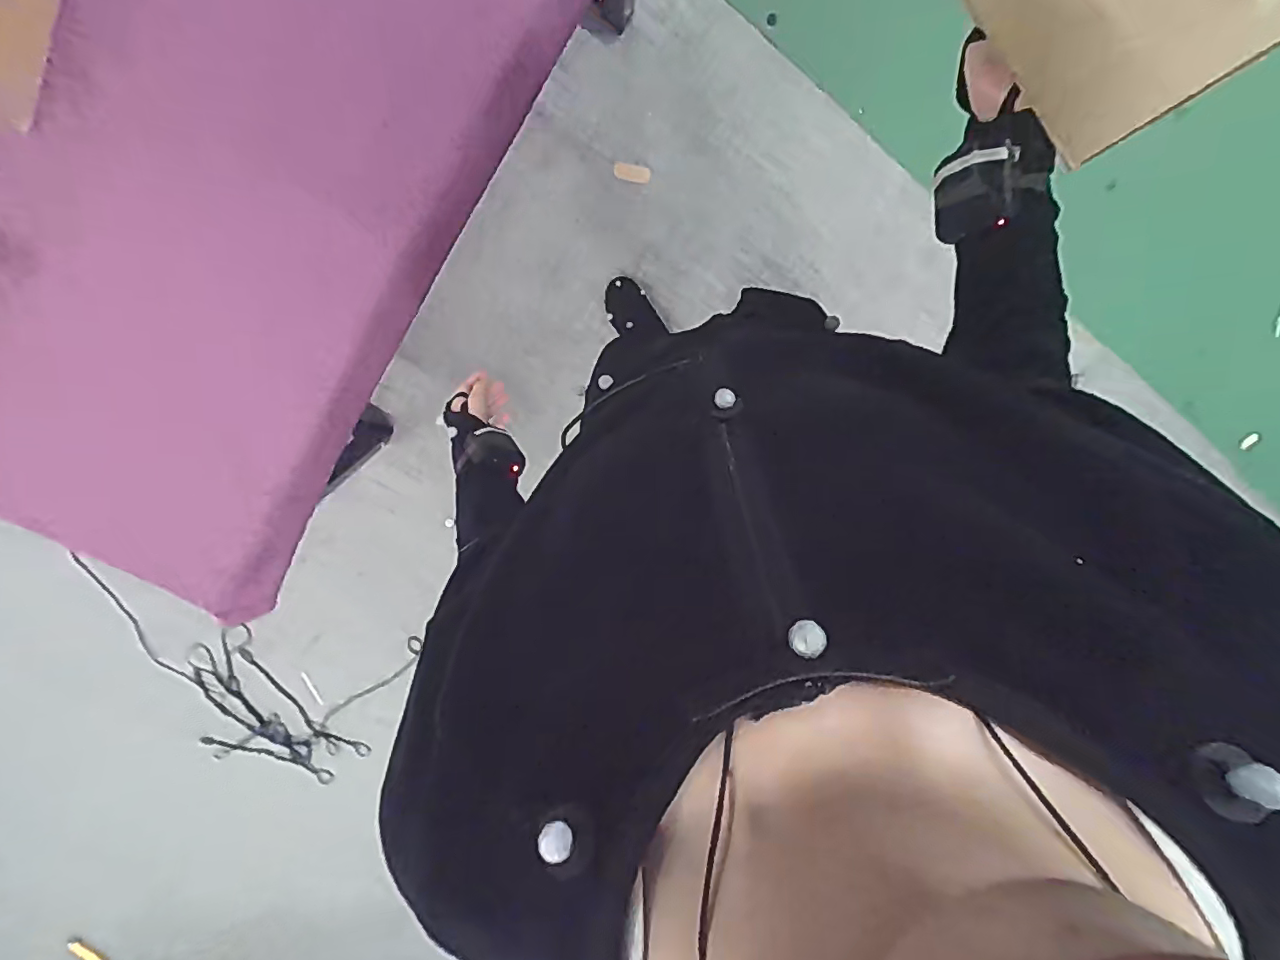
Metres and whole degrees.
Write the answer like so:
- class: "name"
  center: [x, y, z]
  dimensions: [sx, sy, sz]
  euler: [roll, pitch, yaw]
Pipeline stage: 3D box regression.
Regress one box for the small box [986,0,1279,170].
- class: "small box"
  center: [0.258, -0.301, 0.243]
  dimensions: [0.176, 0.168, 0.179]
  euler: [29, 148, -26]
